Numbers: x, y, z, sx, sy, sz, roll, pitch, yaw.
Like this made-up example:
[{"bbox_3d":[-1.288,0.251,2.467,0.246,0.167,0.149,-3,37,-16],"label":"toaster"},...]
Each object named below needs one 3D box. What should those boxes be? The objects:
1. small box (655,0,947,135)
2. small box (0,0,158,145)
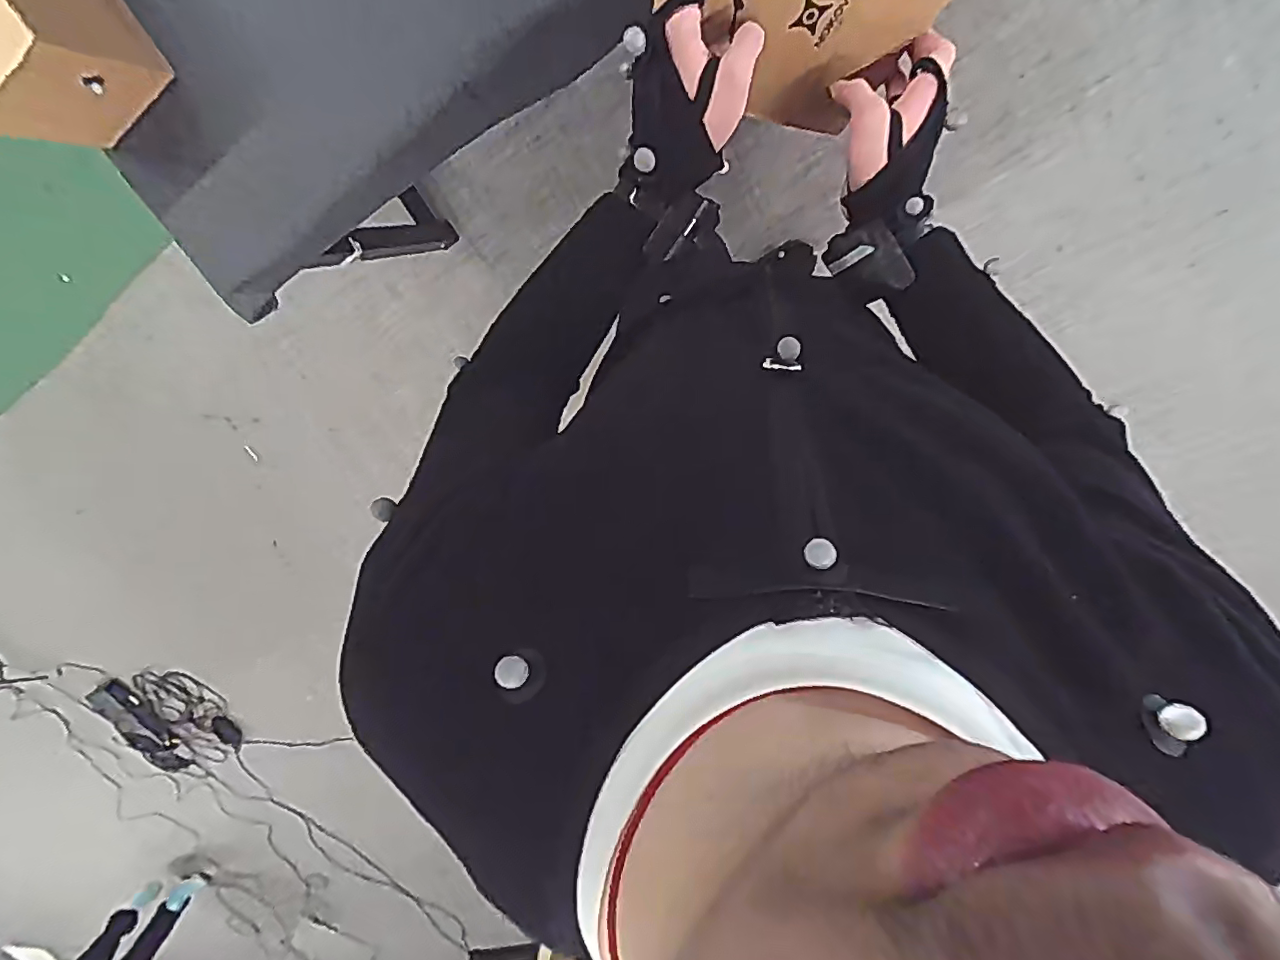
[{"bbox_3d":[0.122,-0.417,0.420,0.179,0.168,0.176,-2,76,-21],"label":"small box"},{"bbox_3d":[-0.755,-0.544,0.660,0.179,0.176,0.168,-22,108,20],"label":"small box"}]
